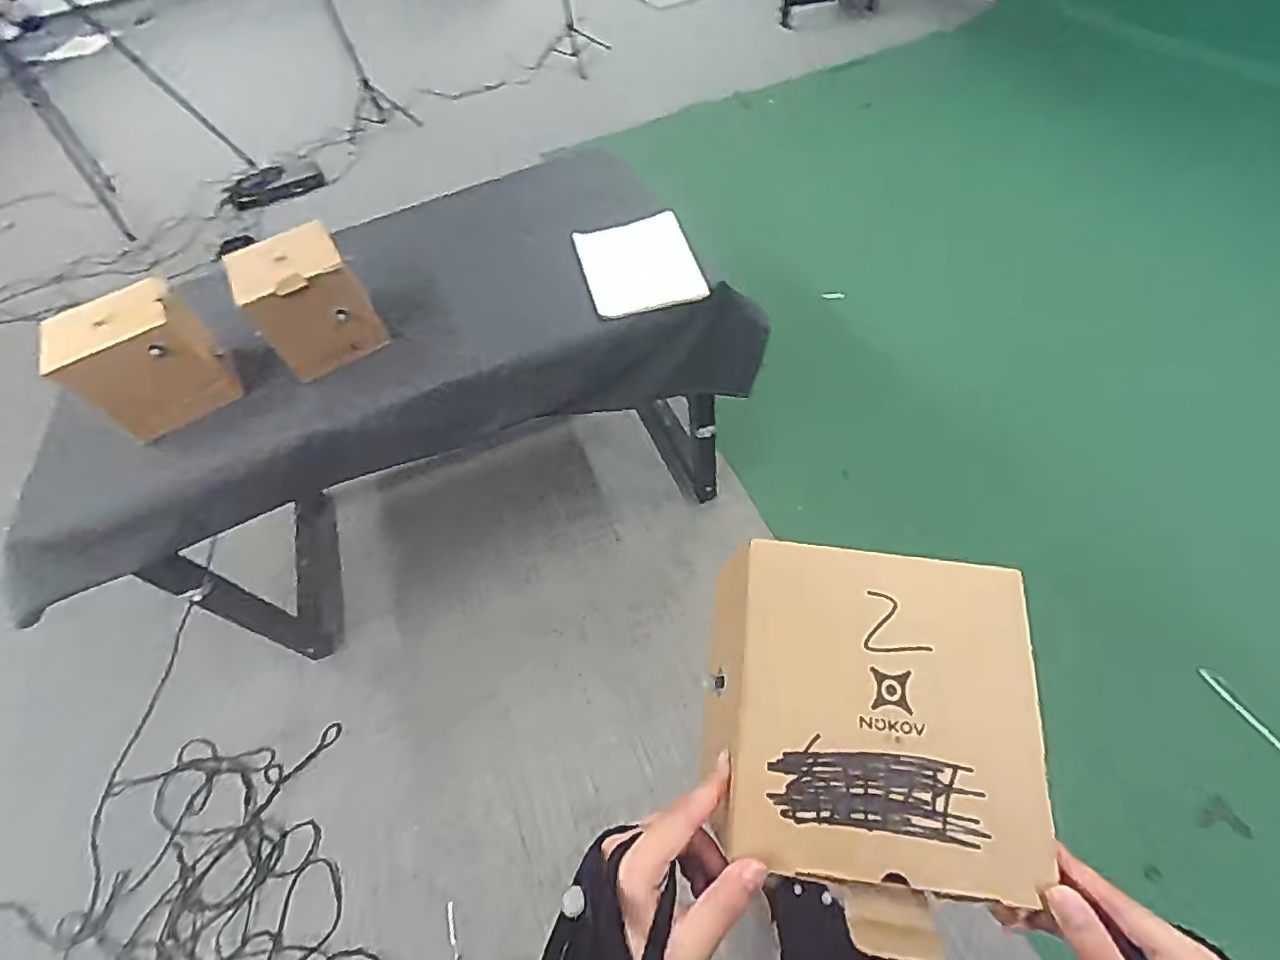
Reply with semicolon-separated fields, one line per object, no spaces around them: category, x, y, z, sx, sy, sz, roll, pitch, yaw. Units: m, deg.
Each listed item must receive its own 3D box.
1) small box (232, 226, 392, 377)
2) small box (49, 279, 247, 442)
small box;-0.565;-0.303;0.946;0.168;0.176;0.179;-30;55;-14
small box;-0.810;-0.195;0.904;0.179;0.176;0.168;-32;56;-15
